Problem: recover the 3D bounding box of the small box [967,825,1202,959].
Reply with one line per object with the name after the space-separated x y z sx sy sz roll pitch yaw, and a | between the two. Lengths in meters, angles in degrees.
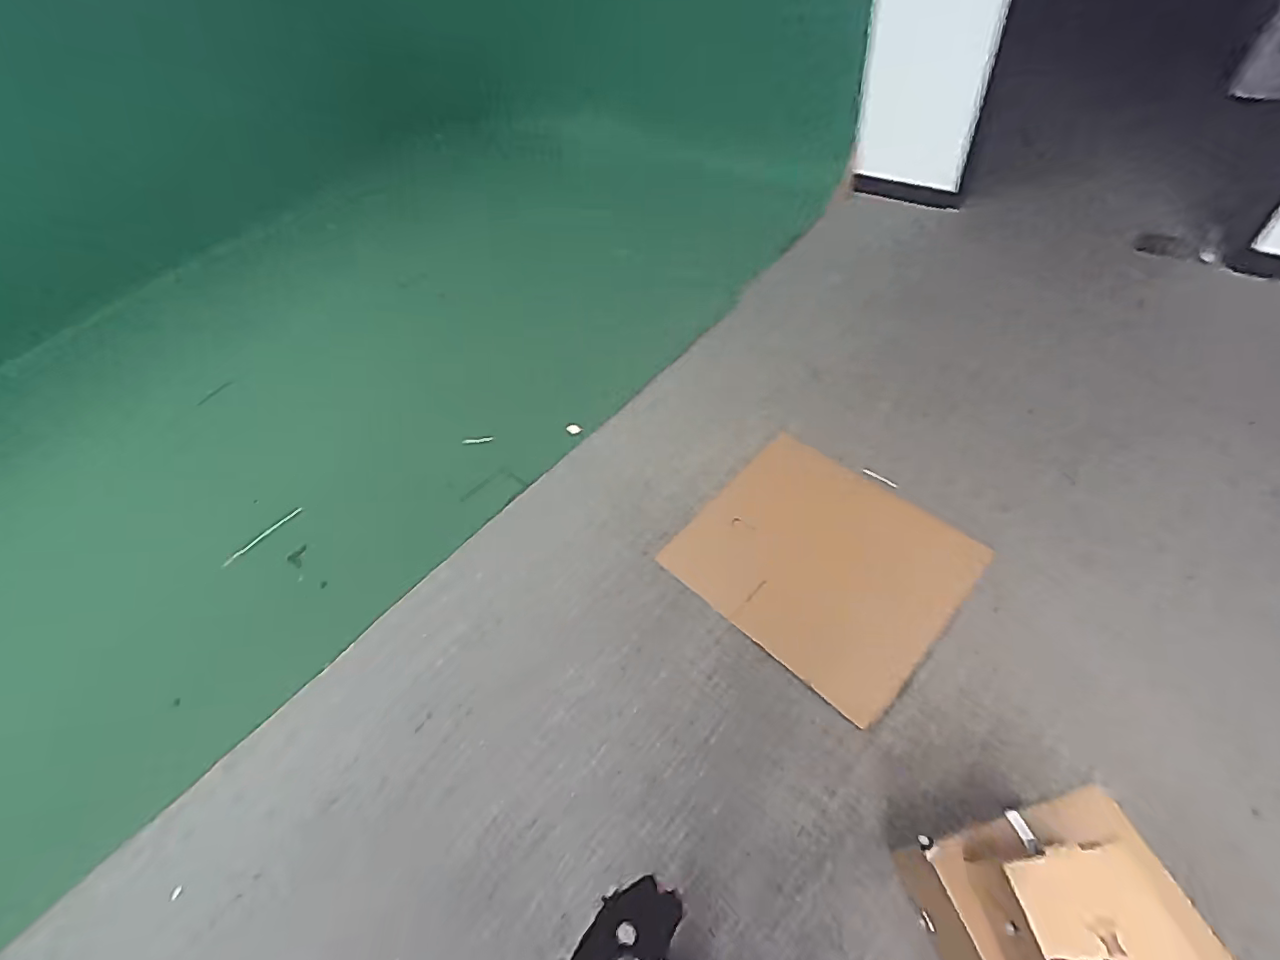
0.585 0.592 0.731 0.168 0.176 0.179 -15 53 1 | small box
